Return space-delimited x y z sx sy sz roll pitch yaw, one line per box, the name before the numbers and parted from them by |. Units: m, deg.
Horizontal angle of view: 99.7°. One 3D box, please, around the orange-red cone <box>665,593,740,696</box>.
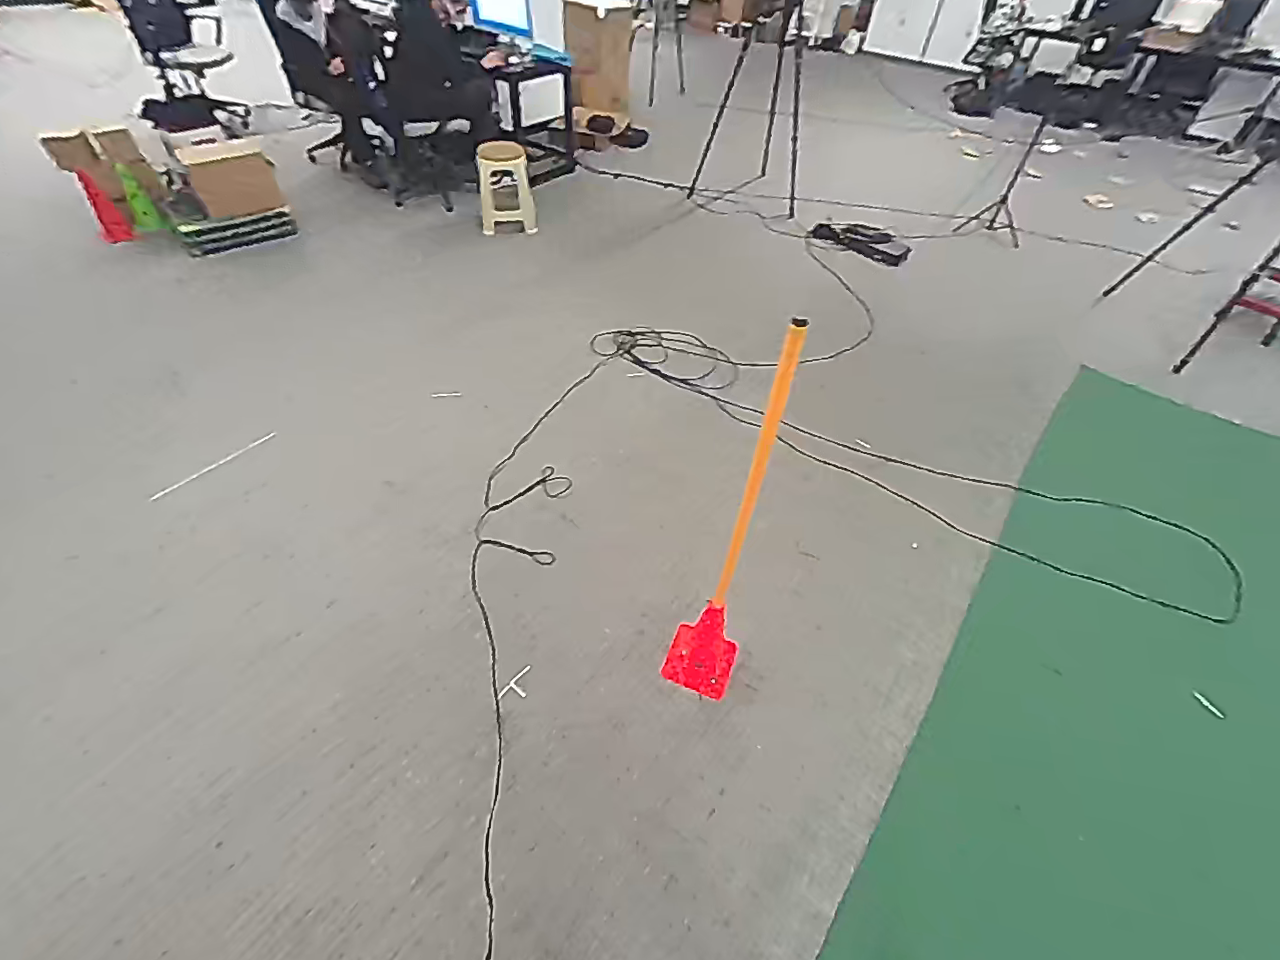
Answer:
orange-red cone | 0.204 0.428 1.543 0.198 0.360 0.199 20 49 14
